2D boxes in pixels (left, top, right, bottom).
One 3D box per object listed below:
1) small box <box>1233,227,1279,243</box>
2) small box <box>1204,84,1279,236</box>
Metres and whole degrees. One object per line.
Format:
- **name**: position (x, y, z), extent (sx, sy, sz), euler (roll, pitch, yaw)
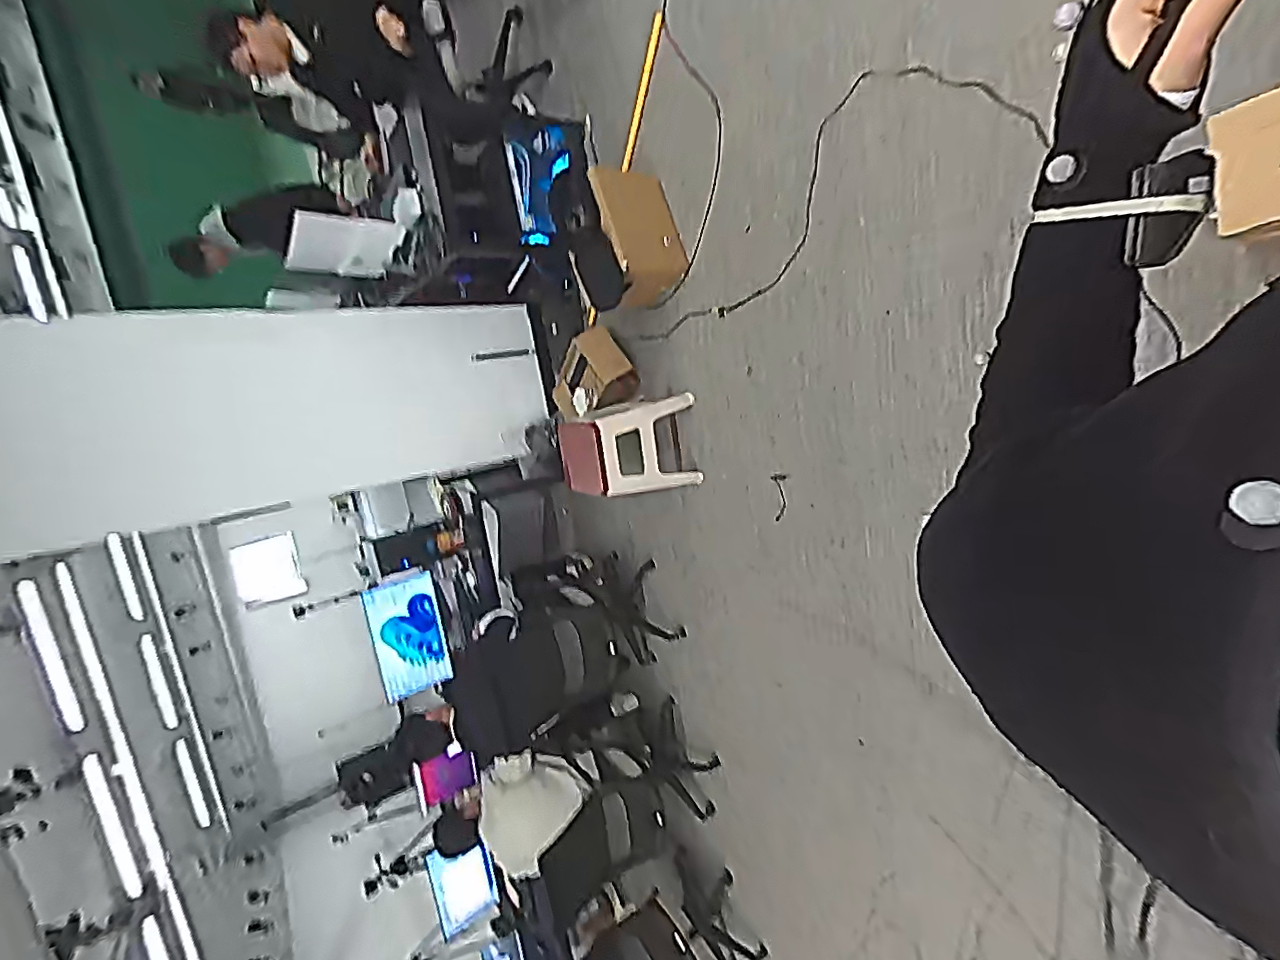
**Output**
- **small box**: position (1.078, -0.496, 0.866), extent (0.168, 0.176, 0.179), euler (-2, 102, 54)
- **small box**: position (0.948, -0.467, 0.773), extent (0.168, 0.176, 0.179), euler (-8, 95, 53)
